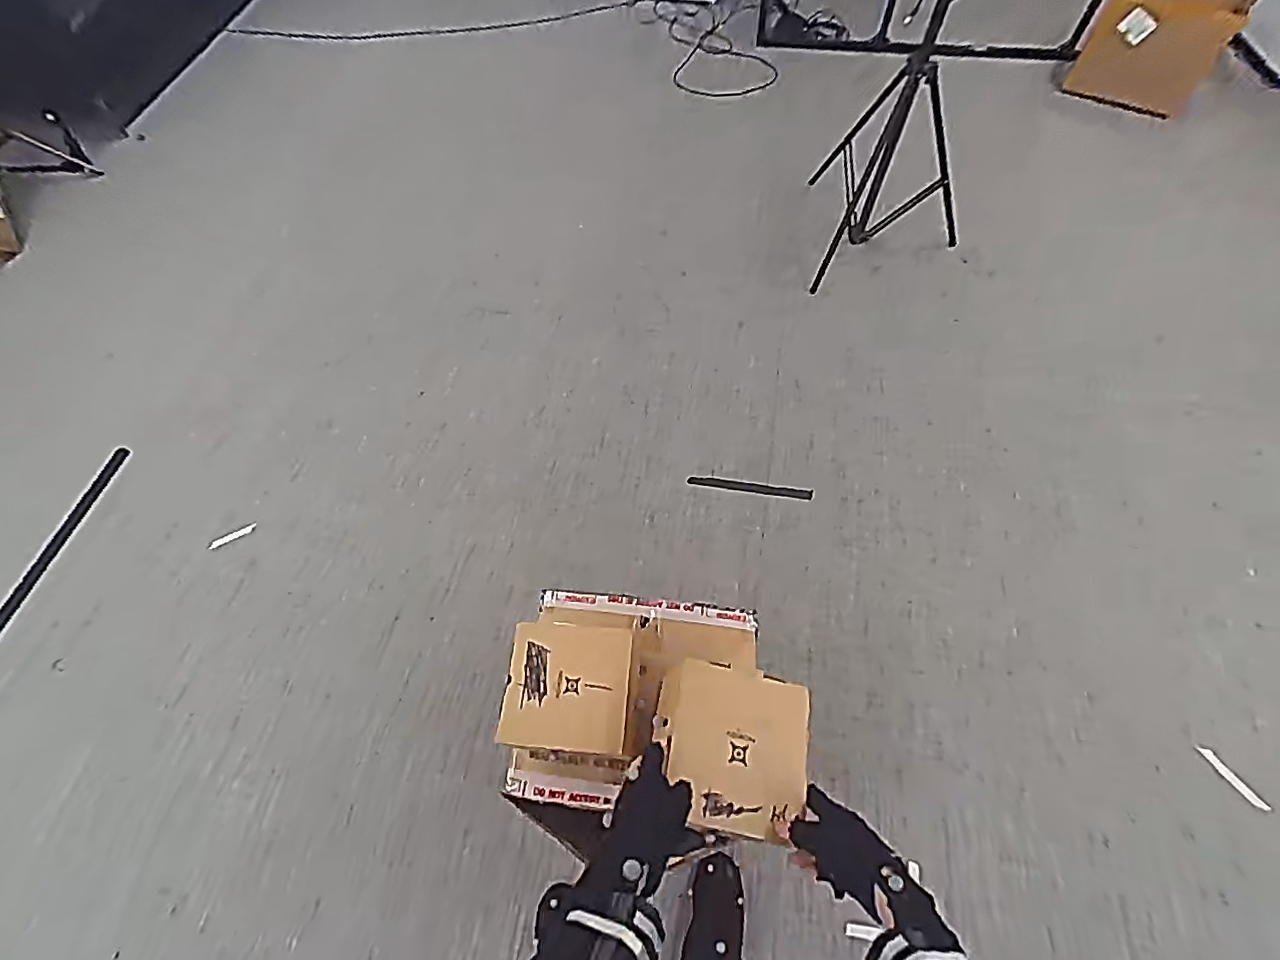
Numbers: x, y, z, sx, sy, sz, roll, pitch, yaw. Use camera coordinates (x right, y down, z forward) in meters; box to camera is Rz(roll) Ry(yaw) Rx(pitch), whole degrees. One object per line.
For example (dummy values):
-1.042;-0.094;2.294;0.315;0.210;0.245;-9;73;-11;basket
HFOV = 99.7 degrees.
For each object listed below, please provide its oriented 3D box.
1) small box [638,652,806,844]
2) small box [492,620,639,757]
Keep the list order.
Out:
0.100;0.347;0.699;0.168;0.176;0.179;15;57;-2;small box
-0.100;0.319;0.817;0.179;0.176;0.168;2;62;5;small box
